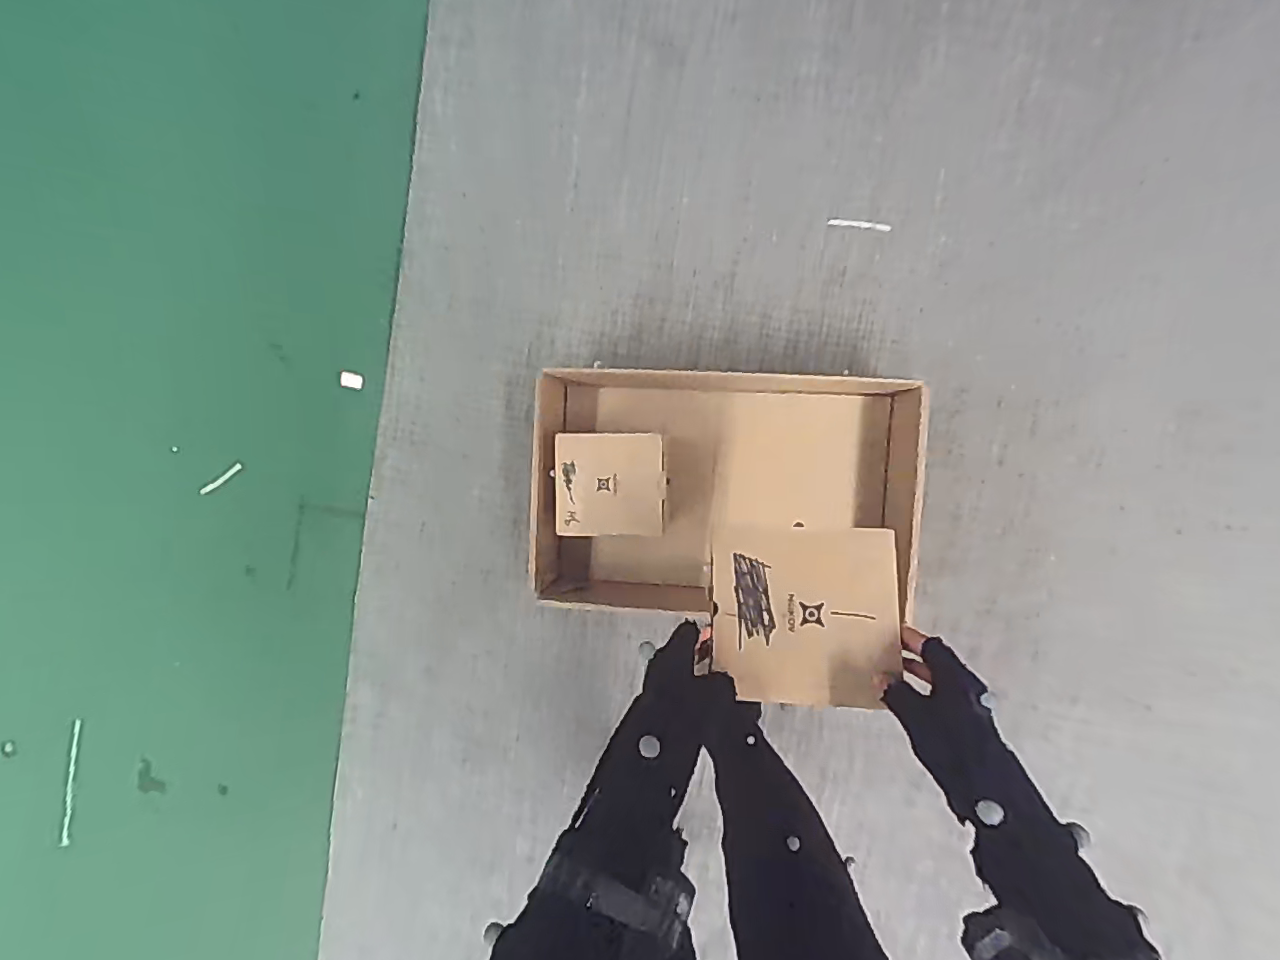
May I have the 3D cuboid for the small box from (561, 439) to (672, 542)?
[{"bbox_3d":[-0.034,0.012,0.935,0.179,0.176,0.168,0,93,6],"label":"small box"}]

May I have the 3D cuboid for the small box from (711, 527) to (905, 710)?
[{"bbox_3d":[0.170,0.146,0.594,0.179,0.176,0.168,0,77,8],"label":"small box"}]
